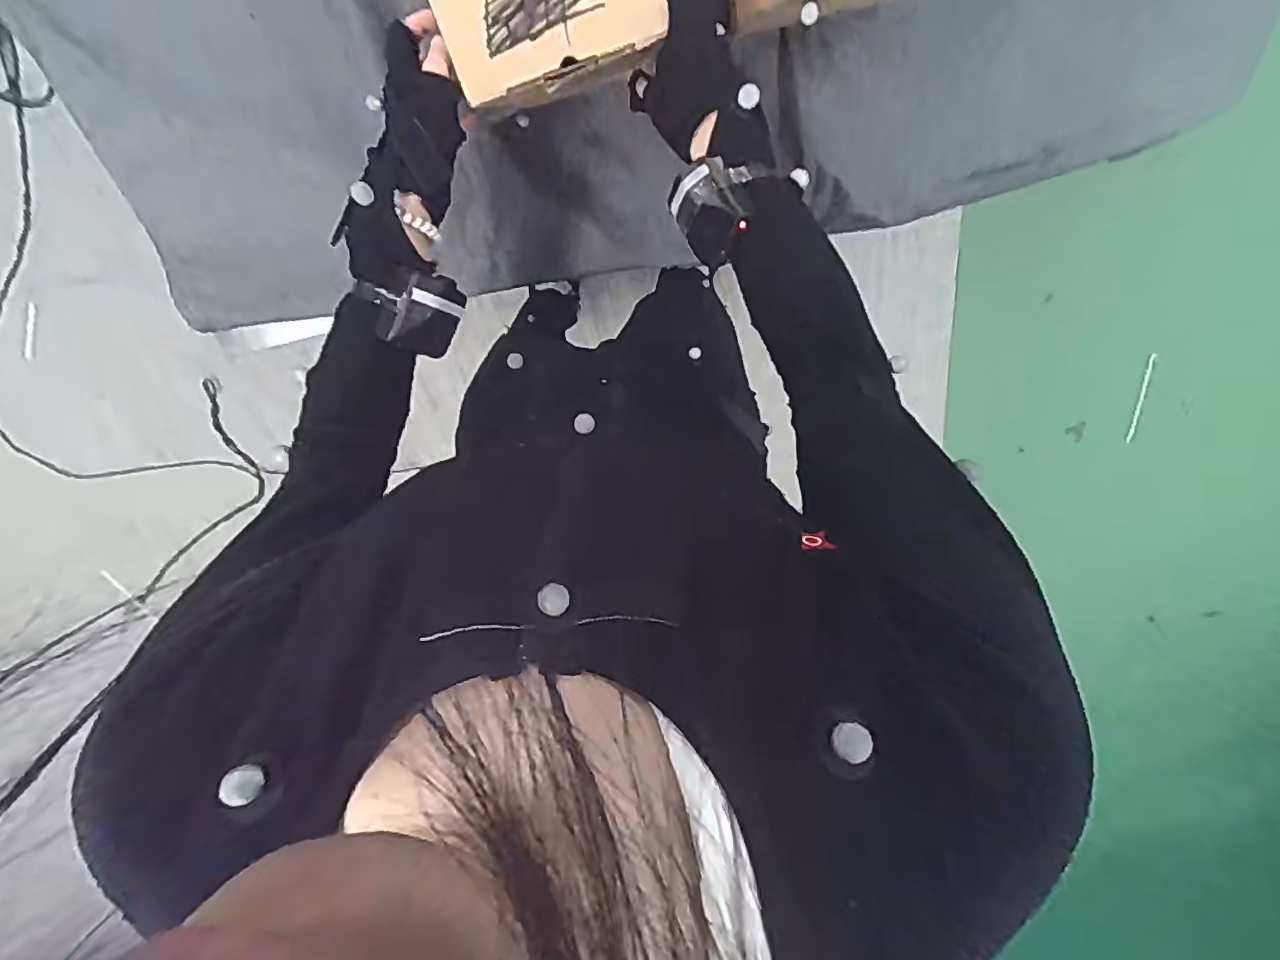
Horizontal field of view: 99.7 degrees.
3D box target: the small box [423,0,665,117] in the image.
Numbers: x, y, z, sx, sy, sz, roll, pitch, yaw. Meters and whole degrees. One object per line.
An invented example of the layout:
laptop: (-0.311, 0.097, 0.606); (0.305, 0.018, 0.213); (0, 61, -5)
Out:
small box: (-0.089, -0.414, 0.433); (0.168, 0.176, 0.179); (-18, 120, 2)
